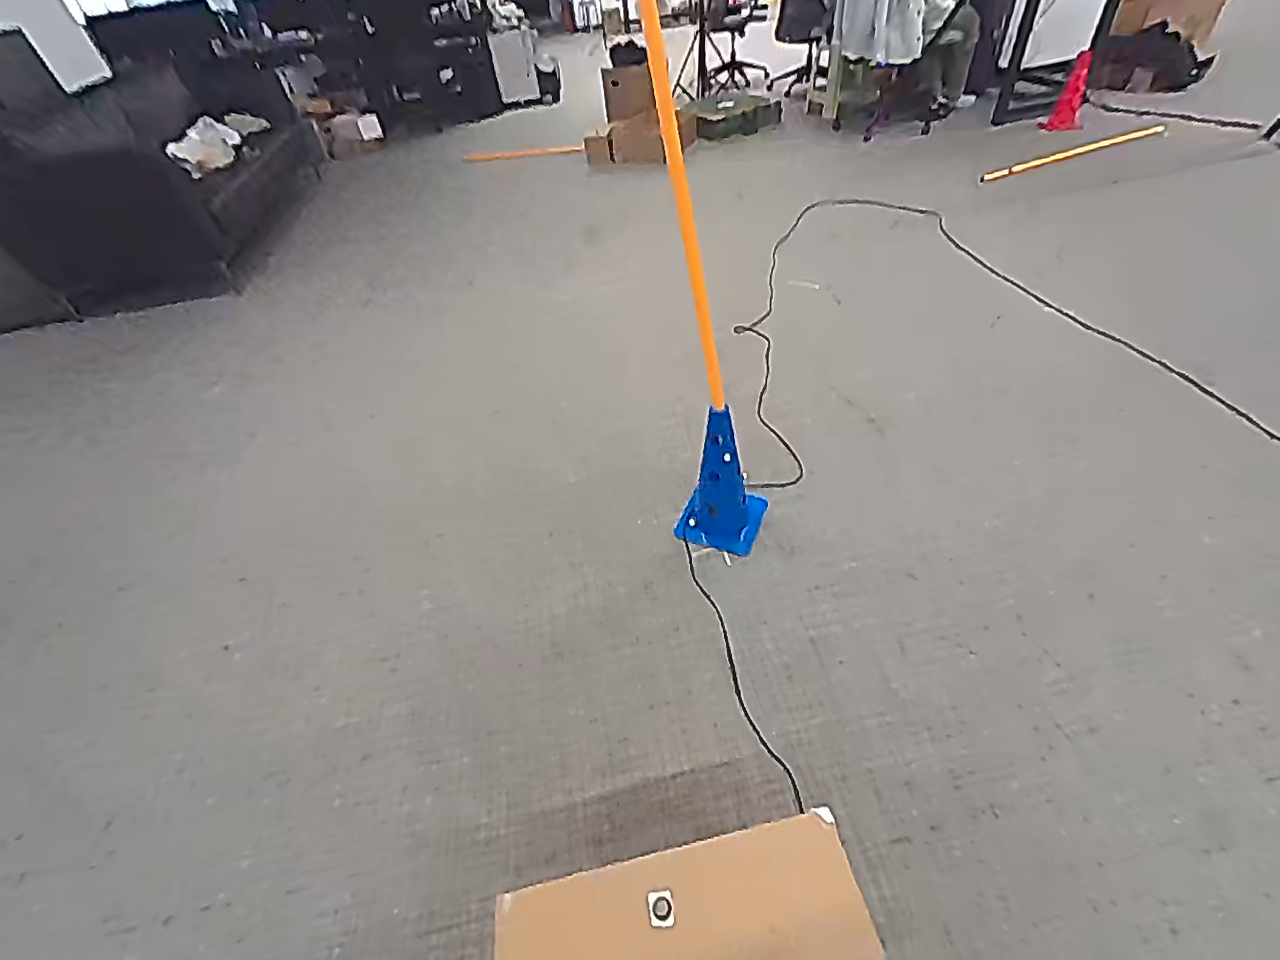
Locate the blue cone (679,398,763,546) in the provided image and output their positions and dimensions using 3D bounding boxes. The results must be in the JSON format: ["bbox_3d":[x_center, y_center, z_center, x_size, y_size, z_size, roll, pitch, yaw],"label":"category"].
[{"bbox_3d":[0.186,-0.030,1.260,0.192,0.380,0.193,11,49,20],"label":"blue cone"}]
